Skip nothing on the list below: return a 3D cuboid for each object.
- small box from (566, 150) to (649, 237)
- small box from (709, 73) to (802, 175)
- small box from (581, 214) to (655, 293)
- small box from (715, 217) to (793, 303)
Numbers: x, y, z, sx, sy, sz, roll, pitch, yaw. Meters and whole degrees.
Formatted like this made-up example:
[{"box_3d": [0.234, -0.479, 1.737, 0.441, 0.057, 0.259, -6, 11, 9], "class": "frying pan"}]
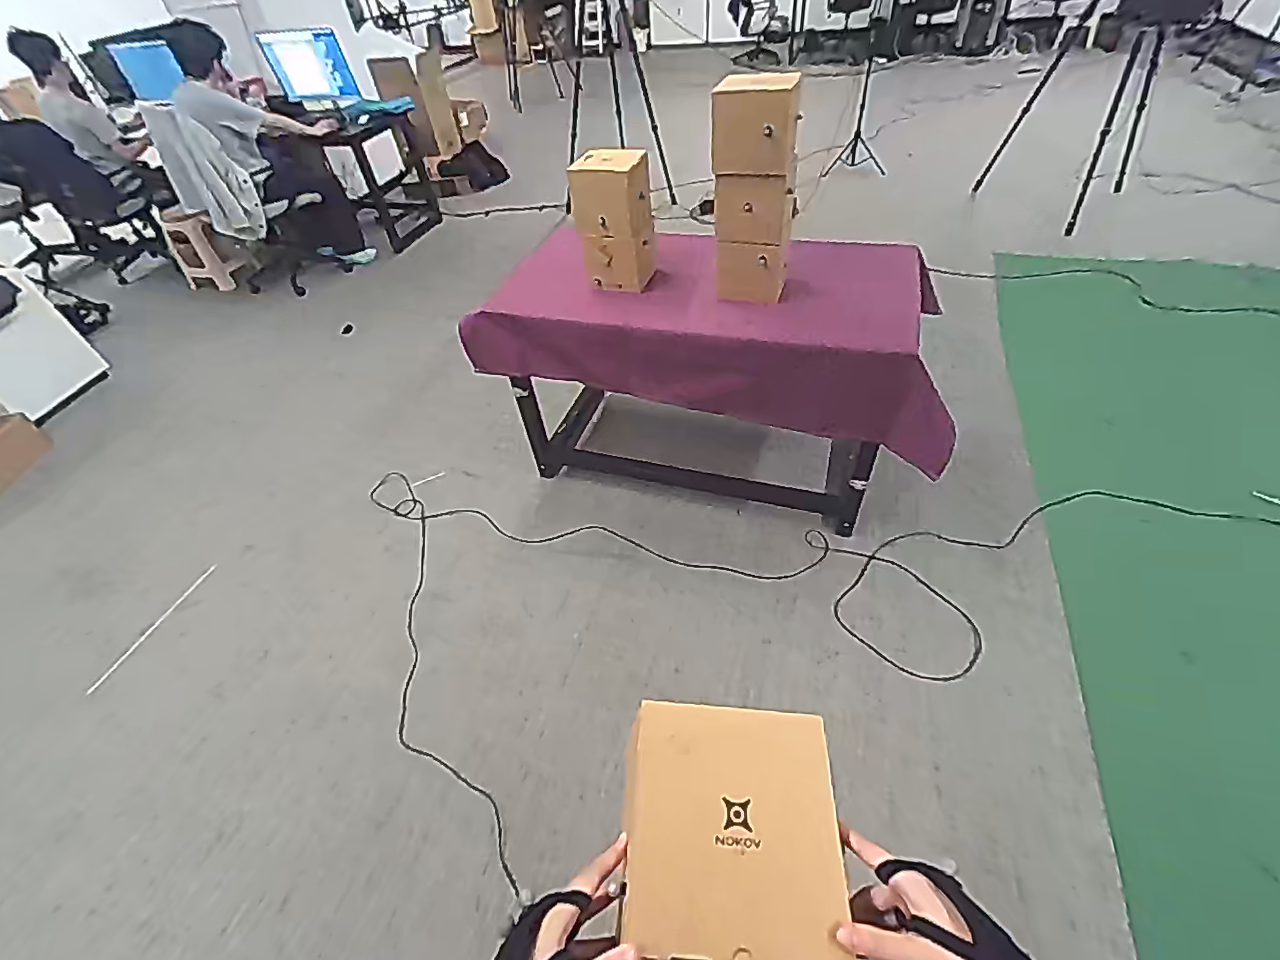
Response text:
[{"box_3d": [-0.082, -0.793, 1.501, 0.179, 0.176, 0.168, 12, 49, 17], "class": "small box"}, {"box_3d": [0.267, -0.829, 1.263, 0.179, 0.176, 0.168, 11, 48, 18], "class": "small box"}, {"box_3d": [-0.056, -0.678, 1.617, 0.168, 0.176, 0.179, 11, 48, 16], "class": "small box"}, {"box_3d": [0.314, -0.609, 1.503, 0.179, 0.176, 0.168, 12, 48, 17], "class": "small box"}]
